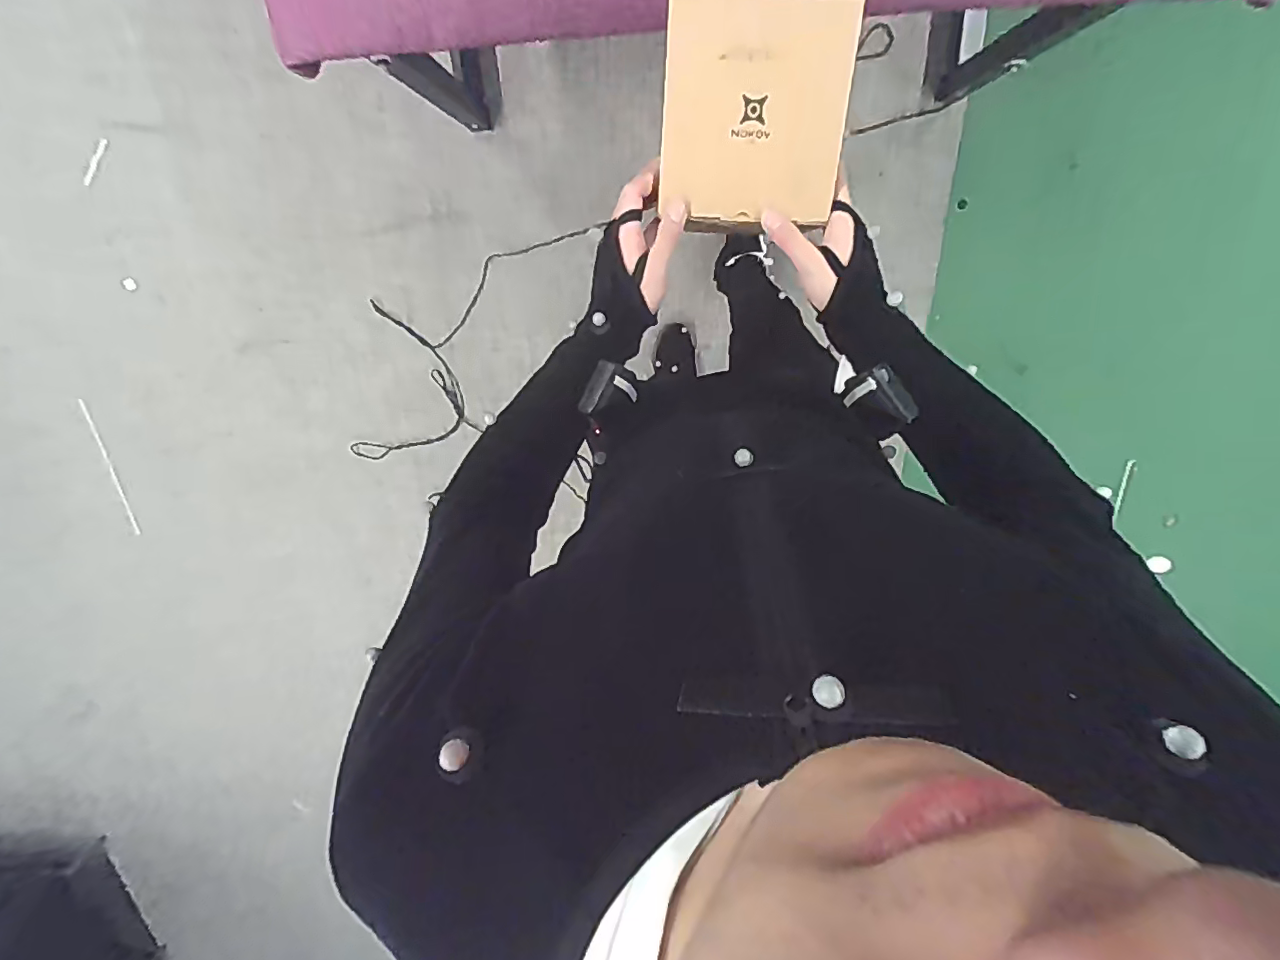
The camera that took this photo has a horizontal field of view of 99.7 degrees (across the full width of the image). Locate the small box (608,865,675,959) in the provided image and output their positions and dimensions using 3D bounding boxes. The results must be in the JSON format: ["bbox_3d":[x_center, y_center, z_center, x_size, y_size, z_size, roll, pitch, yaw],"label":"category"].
[{"bbox_3d":[0.005,1.156,1.424,0.168,0.176,0.179,3,112,3],"label":"small box"}]
